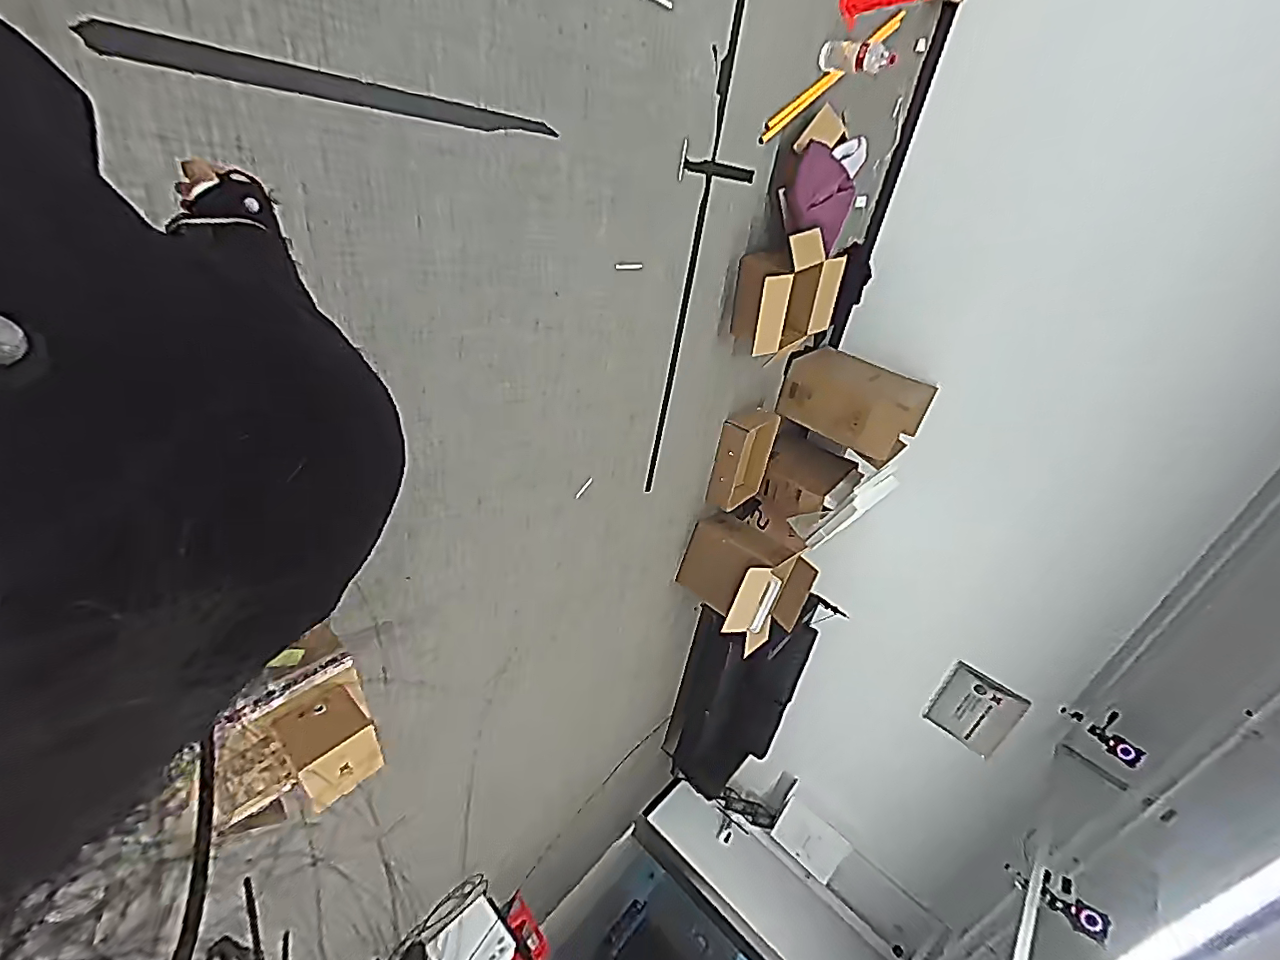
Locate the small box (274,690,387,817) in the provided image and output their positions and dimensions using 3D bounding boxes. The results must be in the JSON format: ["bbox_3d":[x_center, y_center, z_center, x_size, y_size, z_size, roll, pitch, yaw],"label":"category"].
[{"bbox_3d":[-0.740,0.647,1.298,0.168,0.176,0.179,-30,134,-41],"label":"small box"}]
